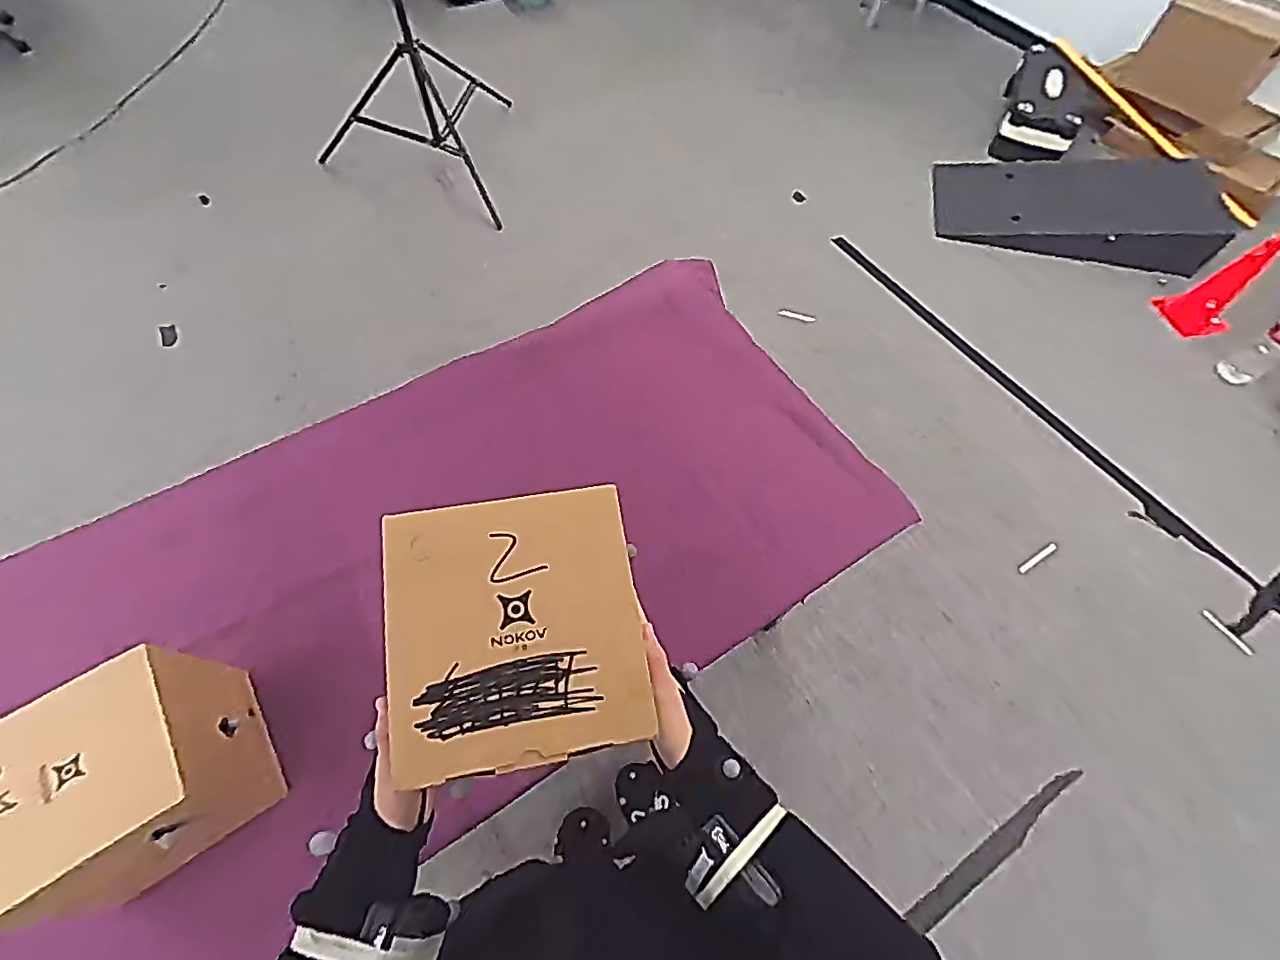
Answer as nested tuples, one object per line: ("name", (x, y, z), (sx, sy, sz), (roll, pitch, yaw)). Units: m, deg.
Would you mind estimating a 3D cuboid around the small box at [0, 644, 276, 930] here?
("small box", (-0.511, 0.299, 0.550), (0.179, 0.176, 0.168), (-32, 66, -17))
